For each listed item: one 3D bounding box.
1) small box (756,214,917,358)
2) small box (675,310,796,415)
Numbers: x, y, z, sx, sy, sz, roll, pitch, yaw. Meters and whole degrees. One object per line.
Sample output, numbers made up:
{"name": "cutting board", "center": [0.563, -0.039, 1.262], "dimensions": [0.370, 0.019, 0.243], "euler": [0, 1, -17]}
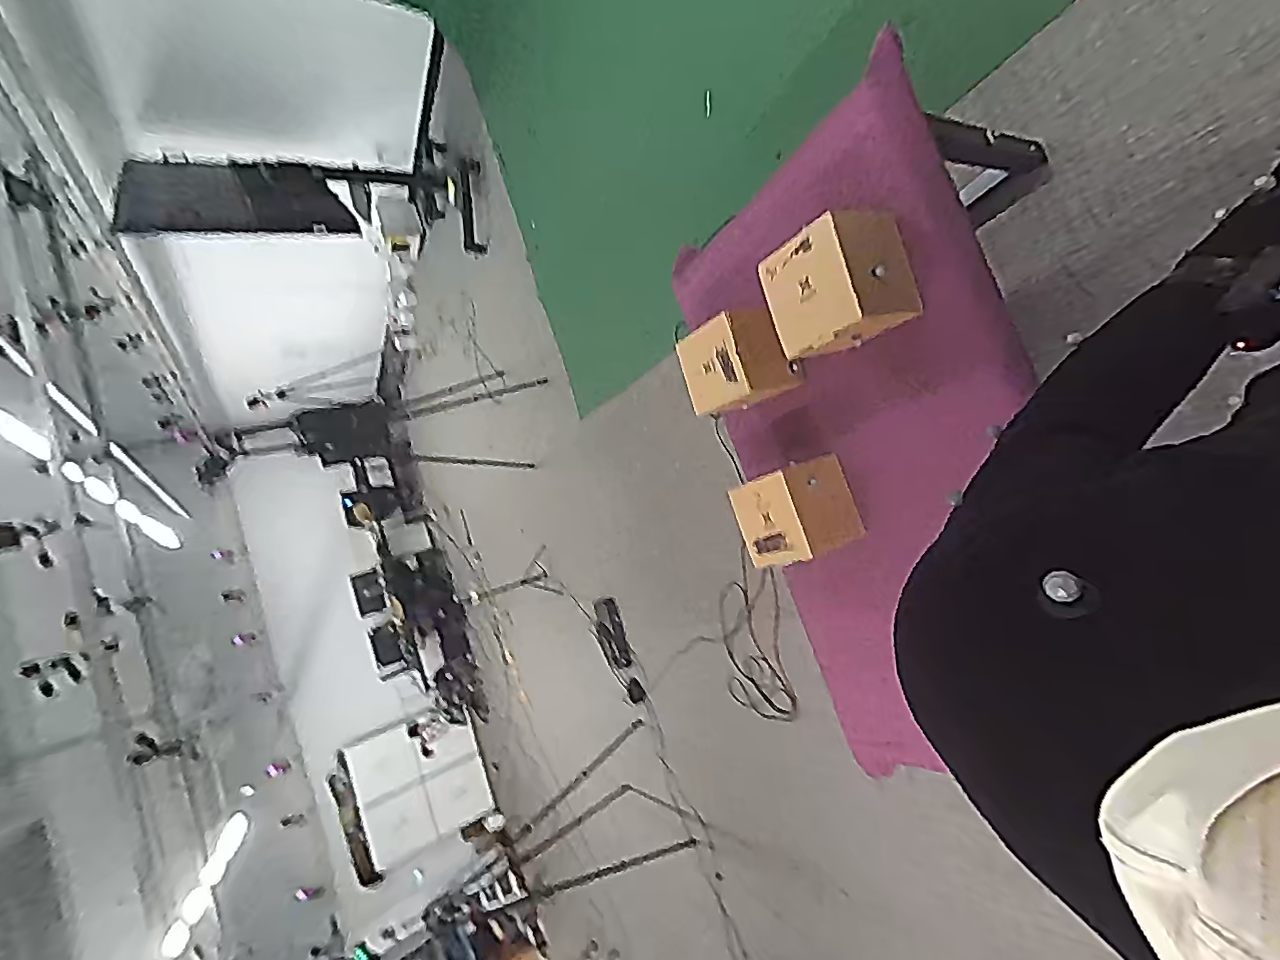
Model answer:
{"name": "small box", "center": [0.335, -0.328, 0.918], "dimensions": [0.168, 0.176, 0.179], "euler": [-20, 87, 58]}
{"name": "small box", "center": [0.207, -0.249, 1.145], "dimensions": [0.179, 0.176, 0.168], "euler": [-19, 87, 58]}
